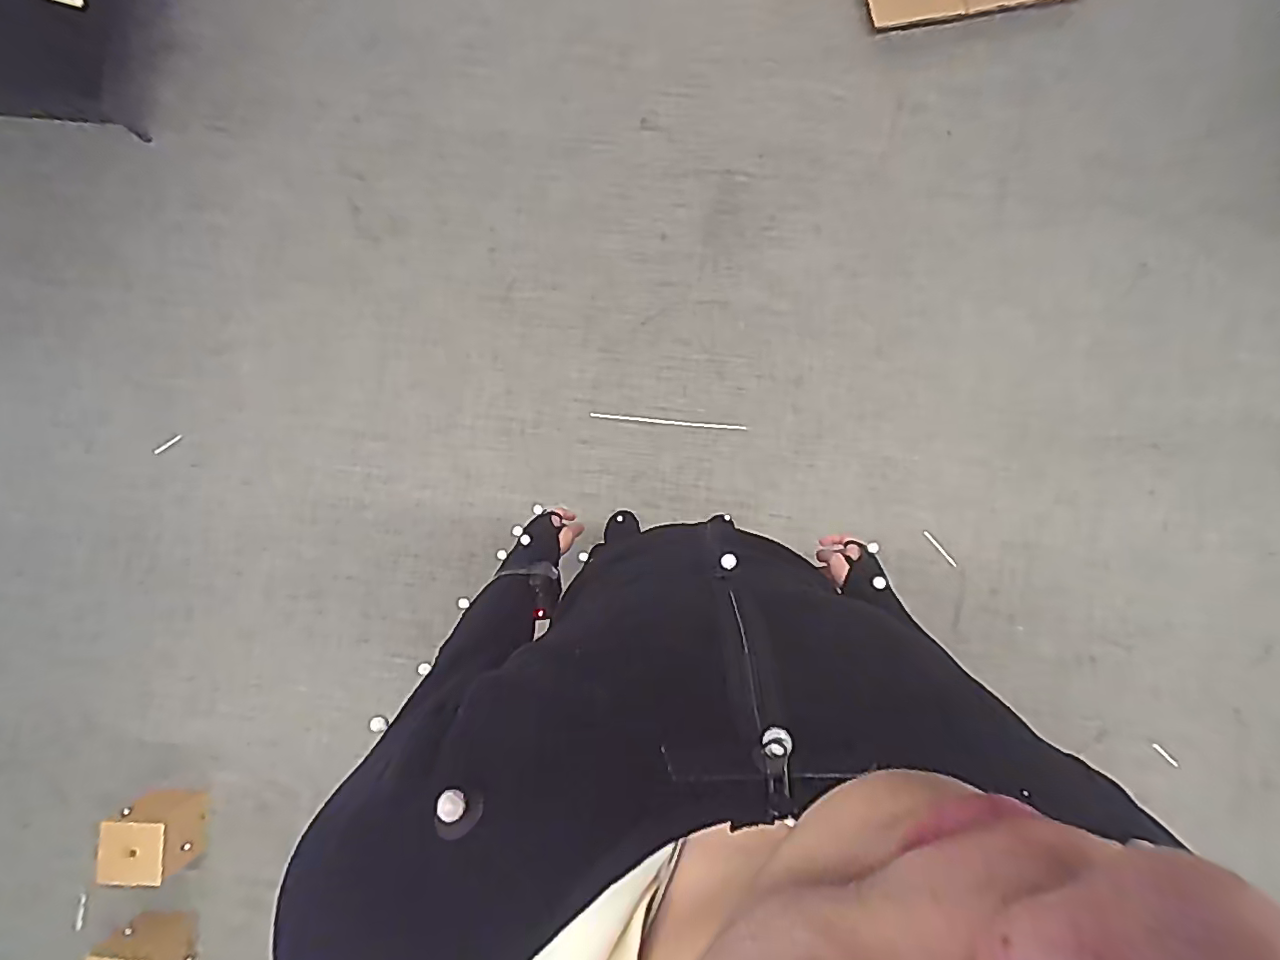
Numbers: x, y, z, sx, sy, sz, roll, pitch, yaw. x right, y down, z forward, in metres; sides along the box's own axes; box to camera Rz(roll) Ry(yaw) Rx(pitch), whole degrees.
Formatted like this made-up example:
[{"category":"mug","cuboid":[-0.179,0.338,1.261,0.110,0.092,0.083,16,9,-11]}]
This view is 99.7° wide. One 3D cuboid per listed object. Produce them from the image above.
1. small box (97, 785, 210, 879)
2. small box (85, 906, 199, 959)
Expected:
[{"category":"small box","cuboid":[-1.371,0.991,1.534,0.179,0.176,0.168,1,87,2]},{"category":"small box","cuboid":[-1.397,1.340,1.514,0.179,0.176,0.168,5,87,1]}]
